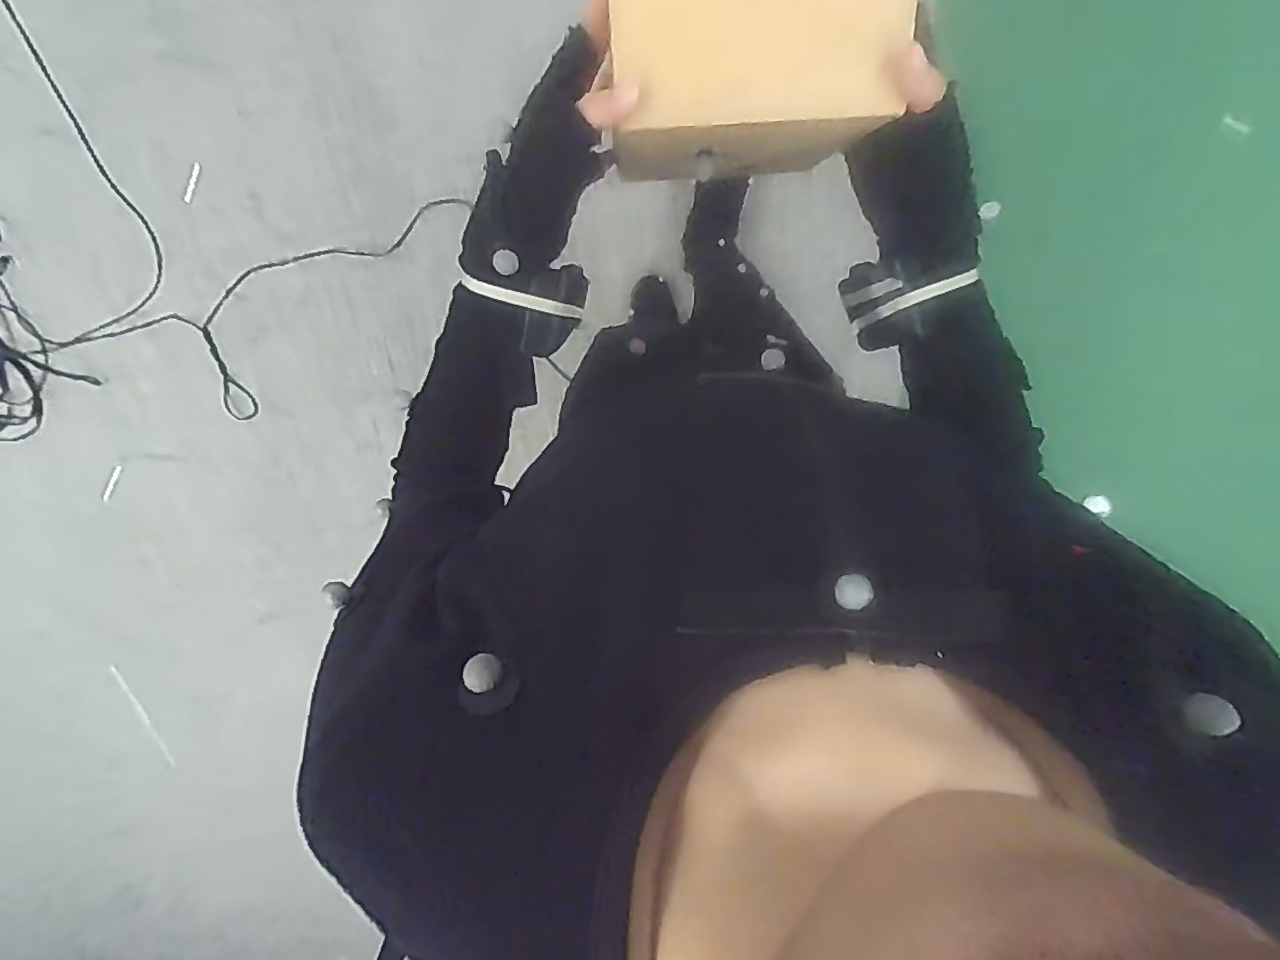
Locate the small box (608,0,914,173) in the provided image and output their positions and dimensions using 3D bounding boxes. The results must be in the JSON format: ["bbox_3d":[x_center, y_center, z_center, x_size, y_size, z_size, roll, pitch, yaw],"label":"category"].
[{"bbox_3d":[0.062,-0.315,0.353,0.168,0.176,0.179,-4,107,0],"label":"small box"}]
